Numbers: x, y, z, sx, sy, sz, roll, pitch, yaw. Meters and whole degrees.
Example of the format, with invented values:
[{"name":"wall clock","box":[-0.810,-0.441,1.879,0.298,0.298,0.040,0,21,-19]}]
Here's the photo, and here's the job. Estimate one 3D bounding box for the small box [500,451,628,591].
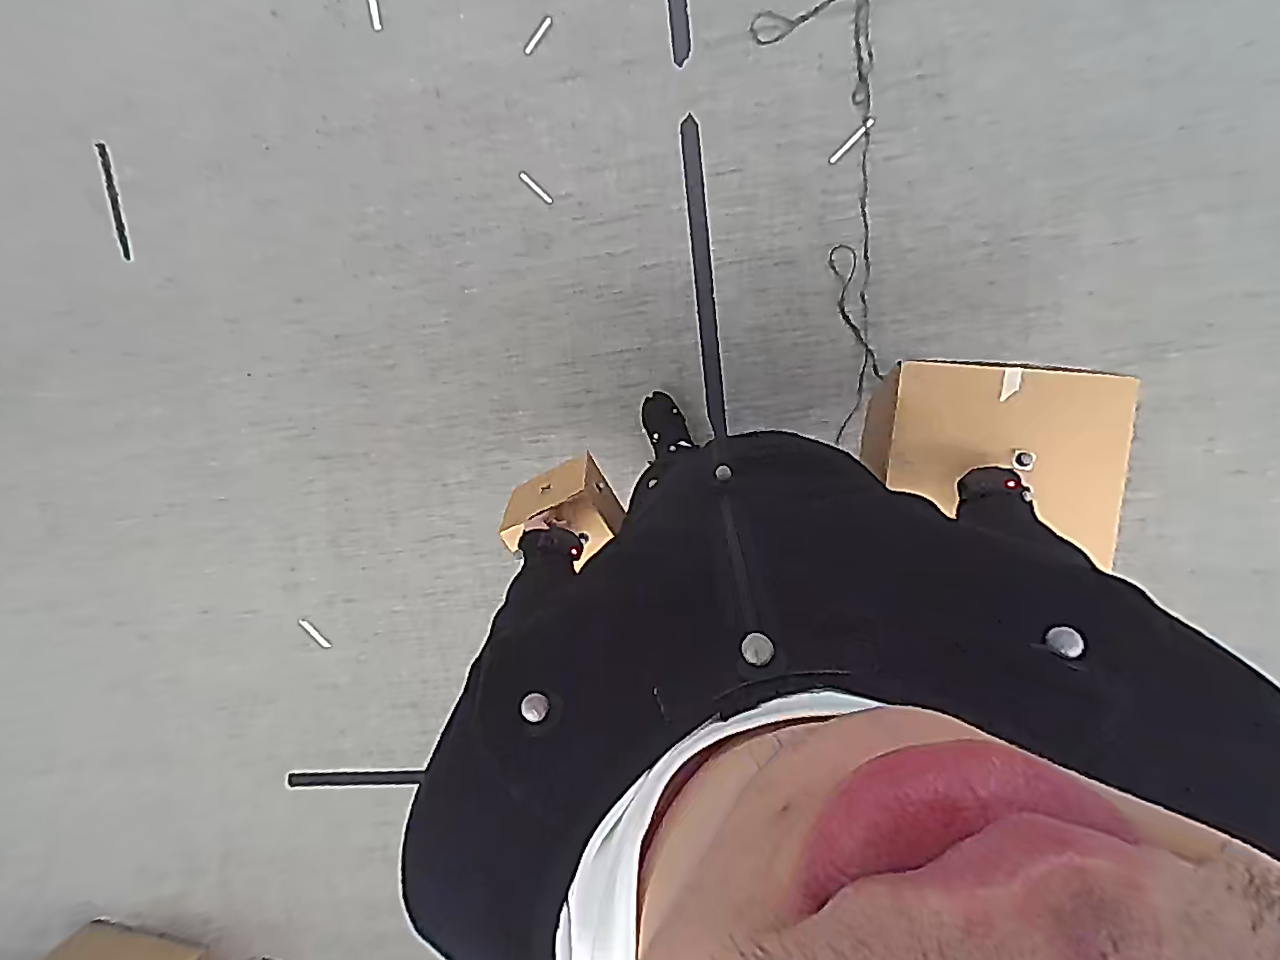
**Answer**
[{"name":"small box","box":[-0.130,0.081,0.993,0.168,0.179,0.176,-26,114,8]}]
